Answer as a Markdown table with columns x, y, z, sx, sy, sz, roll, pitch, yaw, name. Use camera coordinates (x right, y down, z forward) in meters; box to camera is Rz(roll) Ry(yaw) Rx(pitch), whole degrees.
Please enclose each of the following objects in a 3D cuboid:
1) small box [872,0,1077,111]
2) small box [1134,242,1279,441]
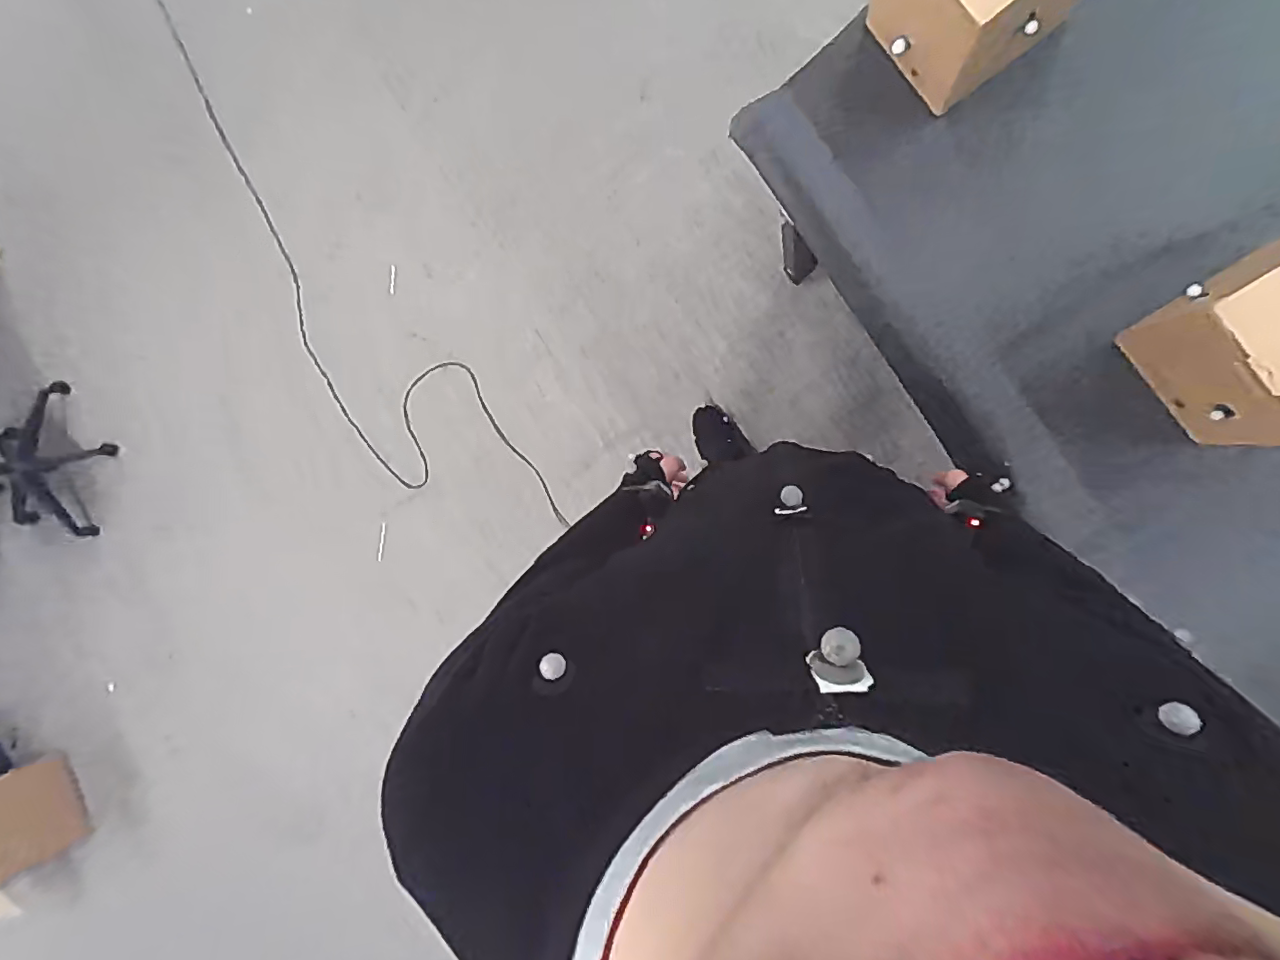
| x | y | z | sx | sy | sz | roll | pitch | yaw | name |
| --- | --- | --- | --- | --- | --- | --- | --- | --- | --- |
| 0.390 | -0.577 | 0.605 | 0.179 | 0.176 | 0.168 | -35 | 85 | 15 | small box |
| 0.679 | -0.149 | 0.562 | 0.179 | 0.176 | 0.168 | -35 | 86 | 14 | small box |
